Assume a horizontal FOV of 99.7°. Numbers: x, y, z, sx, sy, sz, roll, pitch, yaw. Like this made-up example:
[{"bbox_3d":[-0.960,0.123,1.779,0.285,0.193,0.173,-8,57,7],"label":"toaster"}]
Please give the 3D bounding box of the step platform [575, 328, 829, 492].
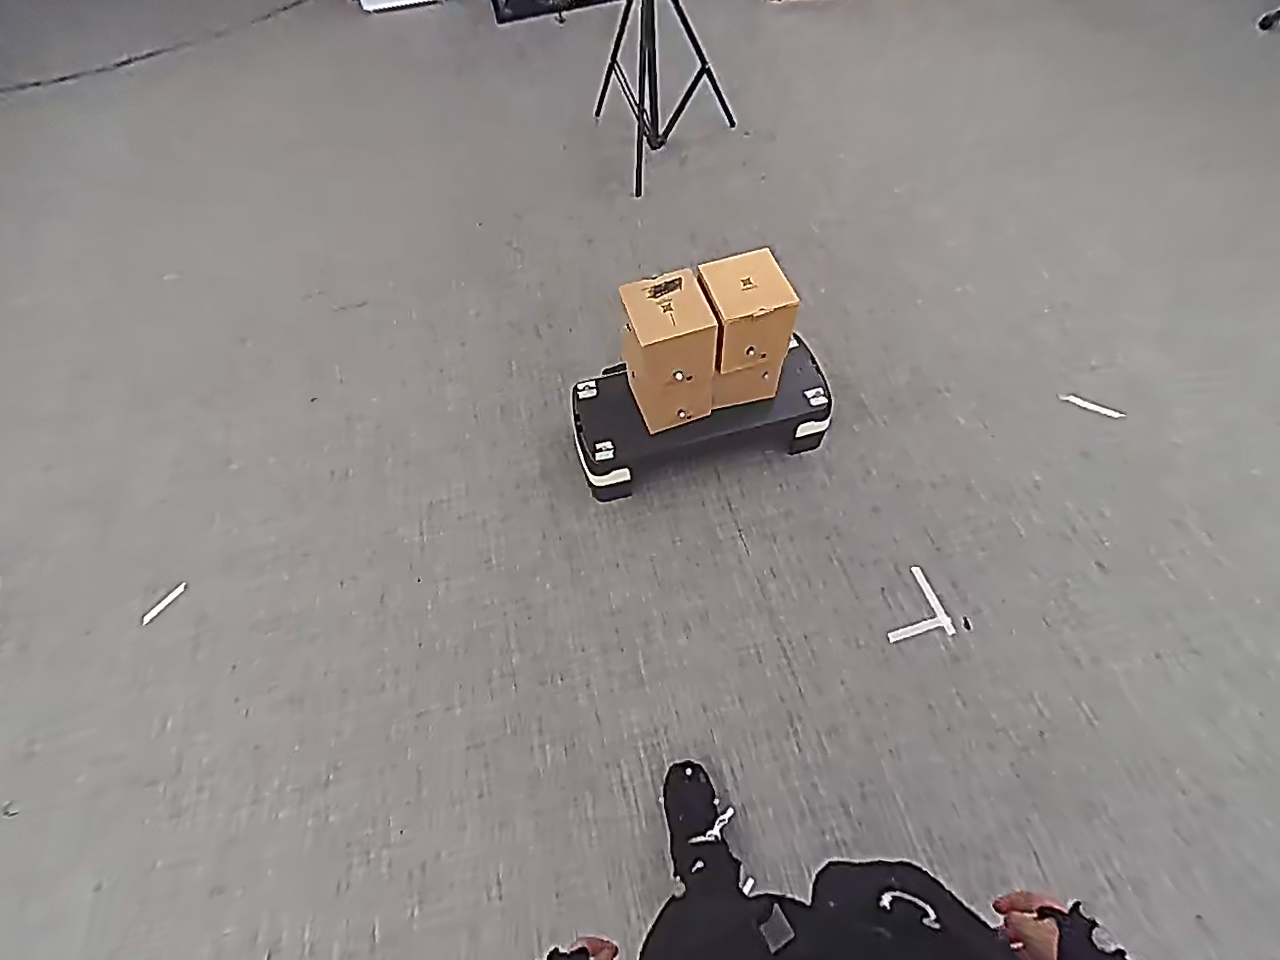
[{"bbox_3d":[0.165,-0.199,1.510,0.684,0.204,0.286,-15,61,-3],"label":"step platform"}]
